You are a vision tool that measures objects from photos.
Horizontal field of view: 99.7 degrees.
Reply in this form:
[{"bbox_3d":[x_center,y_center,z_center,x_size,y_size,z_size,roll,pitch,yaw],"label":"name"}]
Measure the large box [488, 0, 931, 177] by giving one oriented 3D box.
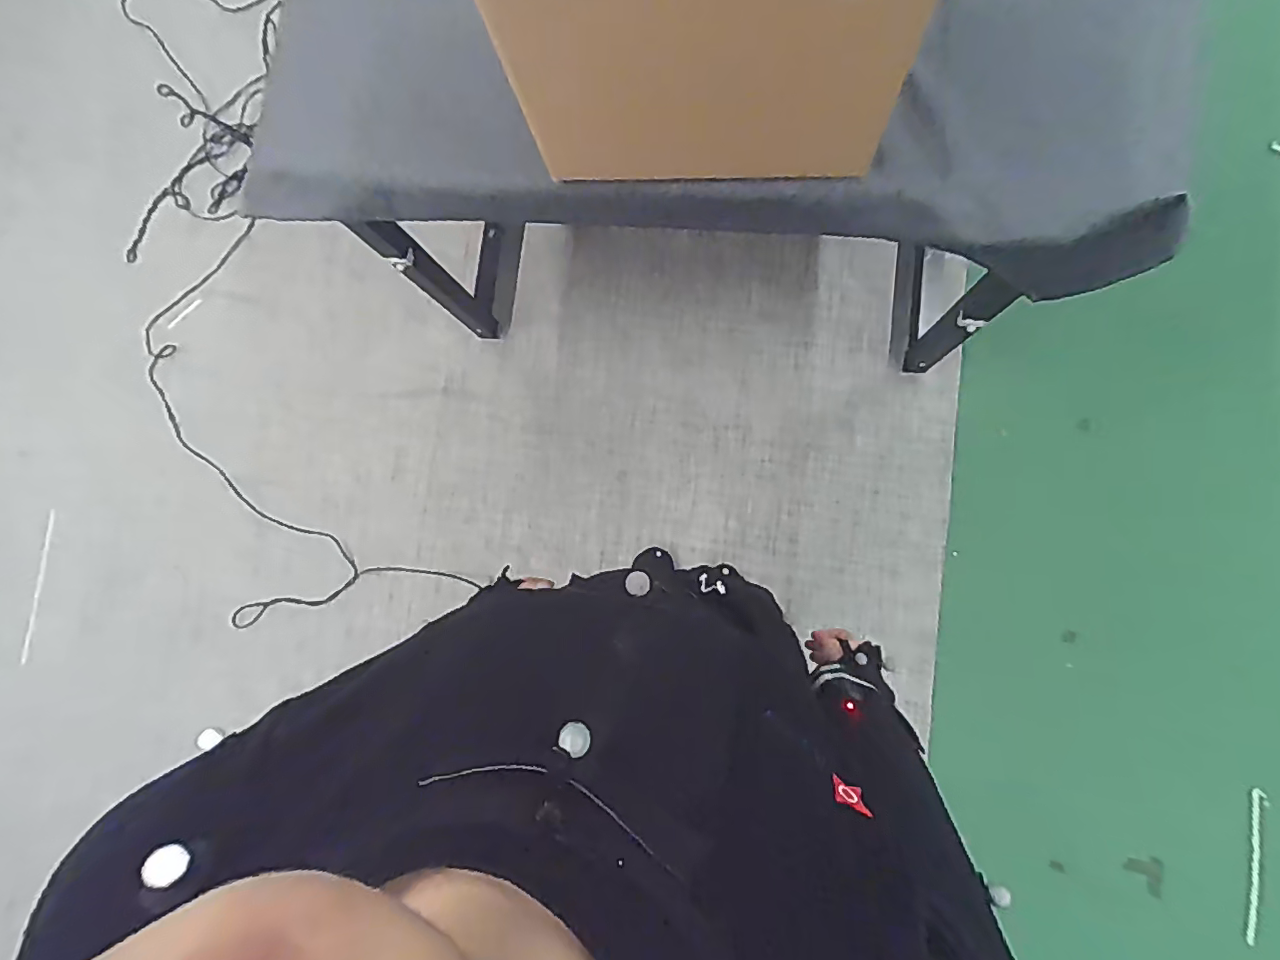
[{"bbox_3d":[0.072,-0.562,0.568,0.408,0.320,0.320,3,84,7],"label":"large box"}]
